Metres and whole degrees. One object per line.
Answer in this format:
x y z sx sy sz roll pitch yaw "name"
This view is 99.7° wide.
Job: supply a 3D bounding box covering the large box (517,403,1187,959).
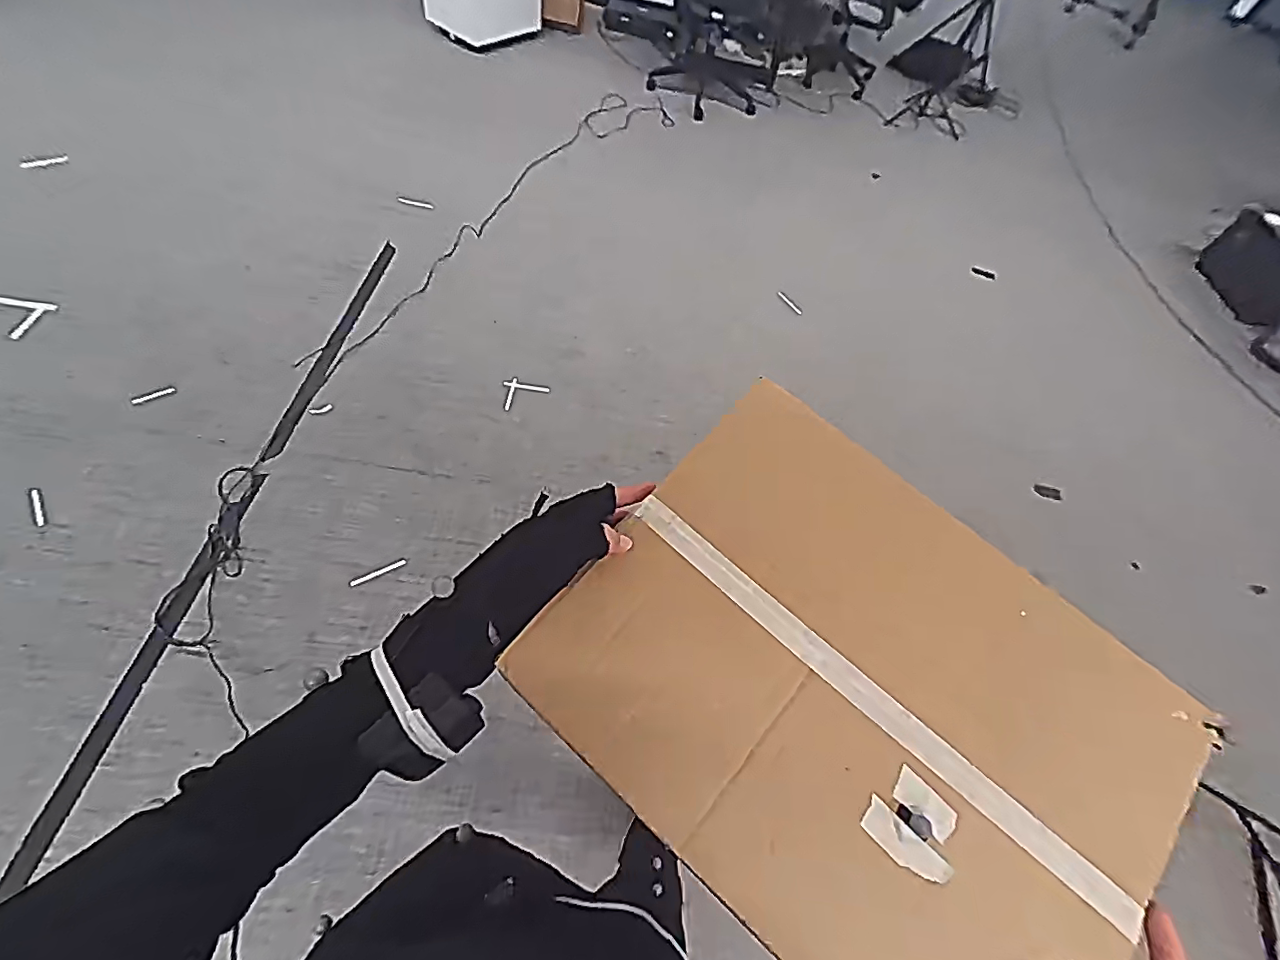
0.147 0.208 0.529 0.408 0.320 0.320 41 73 12 "large box"
